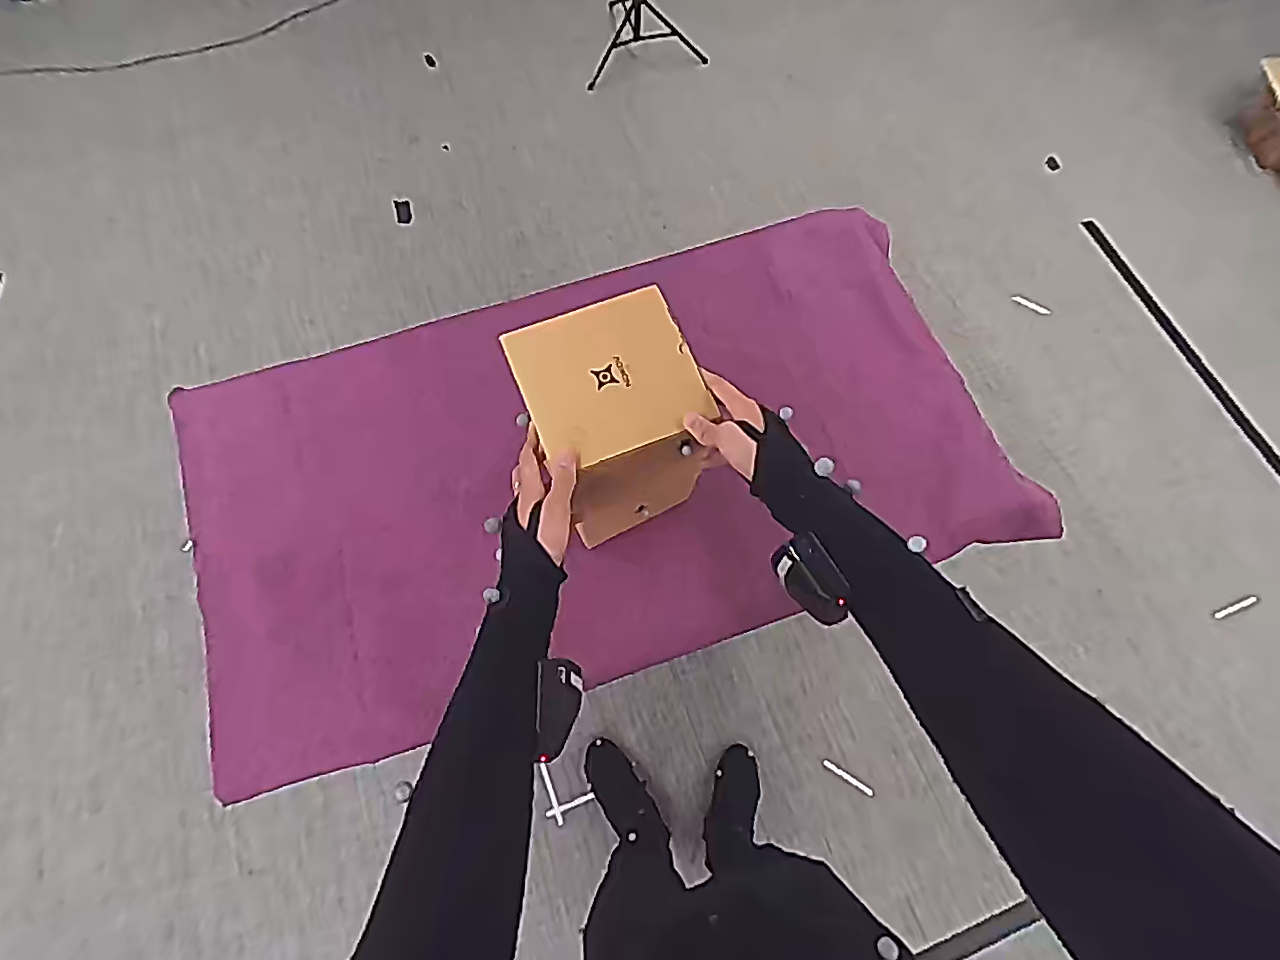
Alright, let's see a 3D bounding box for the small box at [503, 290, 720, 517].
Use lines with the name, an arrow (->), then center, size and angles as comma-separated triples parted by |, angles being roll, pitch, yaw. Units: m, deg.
small box -> -0.032, -0.075, 0.611 | 0.179, 0.176, 0.168 | -21, 74, -9
